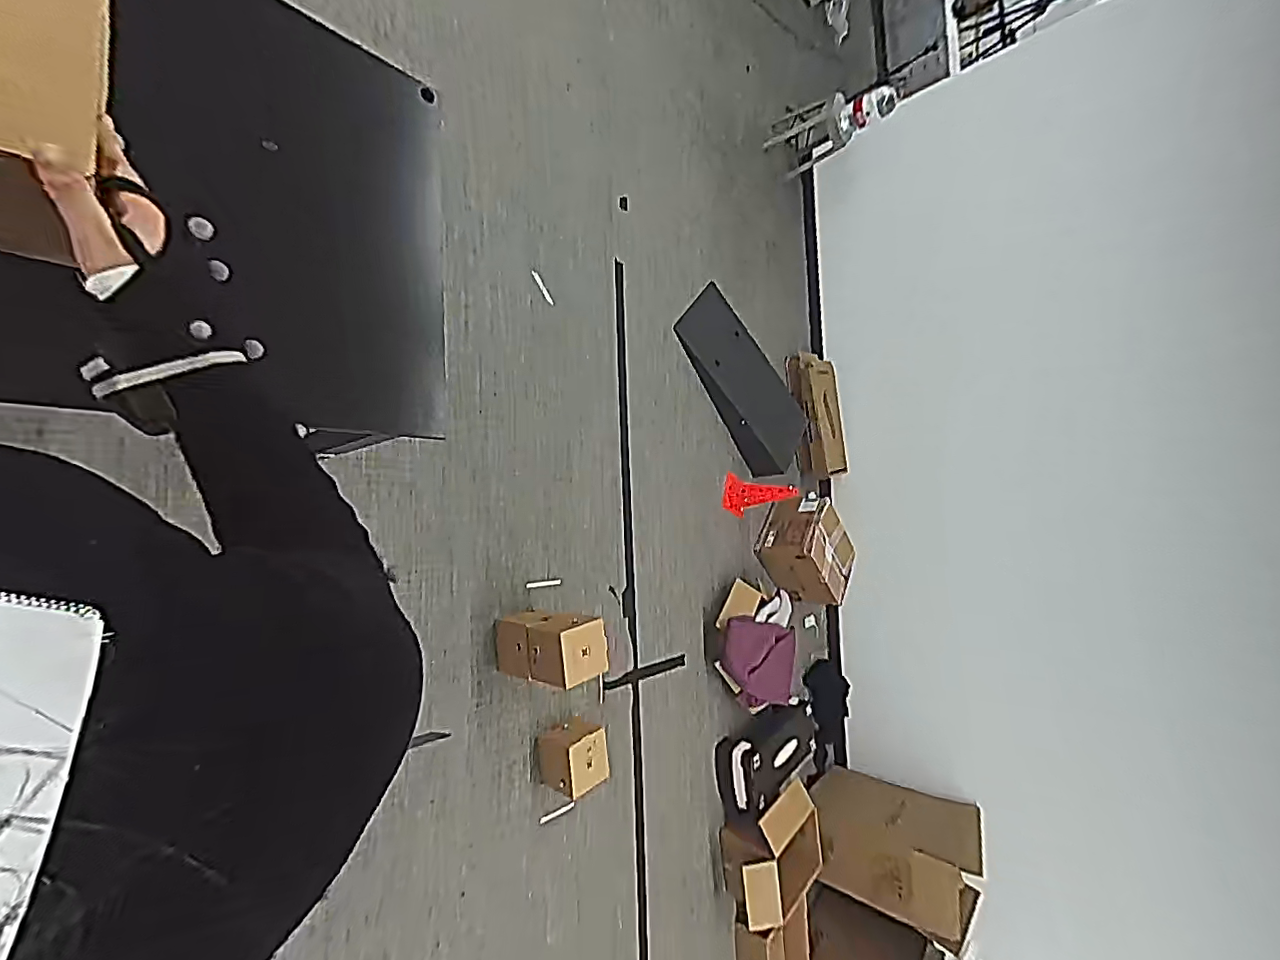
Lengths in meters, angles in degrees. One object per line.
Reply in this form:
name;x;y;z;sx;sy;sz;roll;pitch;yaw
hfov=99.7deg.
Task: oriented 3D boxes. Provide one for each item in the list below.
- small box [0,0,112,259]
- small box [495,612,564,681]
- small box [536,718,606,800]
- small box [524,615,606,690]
small box;-0.473;-0.275;0.362;0.168;0.176;0.179;2;85;-45
small box;-0.358;0.531;1.757;0.168;0.176;0.179;-2;87;-48
small box;-0.238;0.947;1.849;0.168;0.176;0.179;-6;91;-48
small box;-0.229;0.519;1.657;0.179;0.176;0.168;-7;89;-47
